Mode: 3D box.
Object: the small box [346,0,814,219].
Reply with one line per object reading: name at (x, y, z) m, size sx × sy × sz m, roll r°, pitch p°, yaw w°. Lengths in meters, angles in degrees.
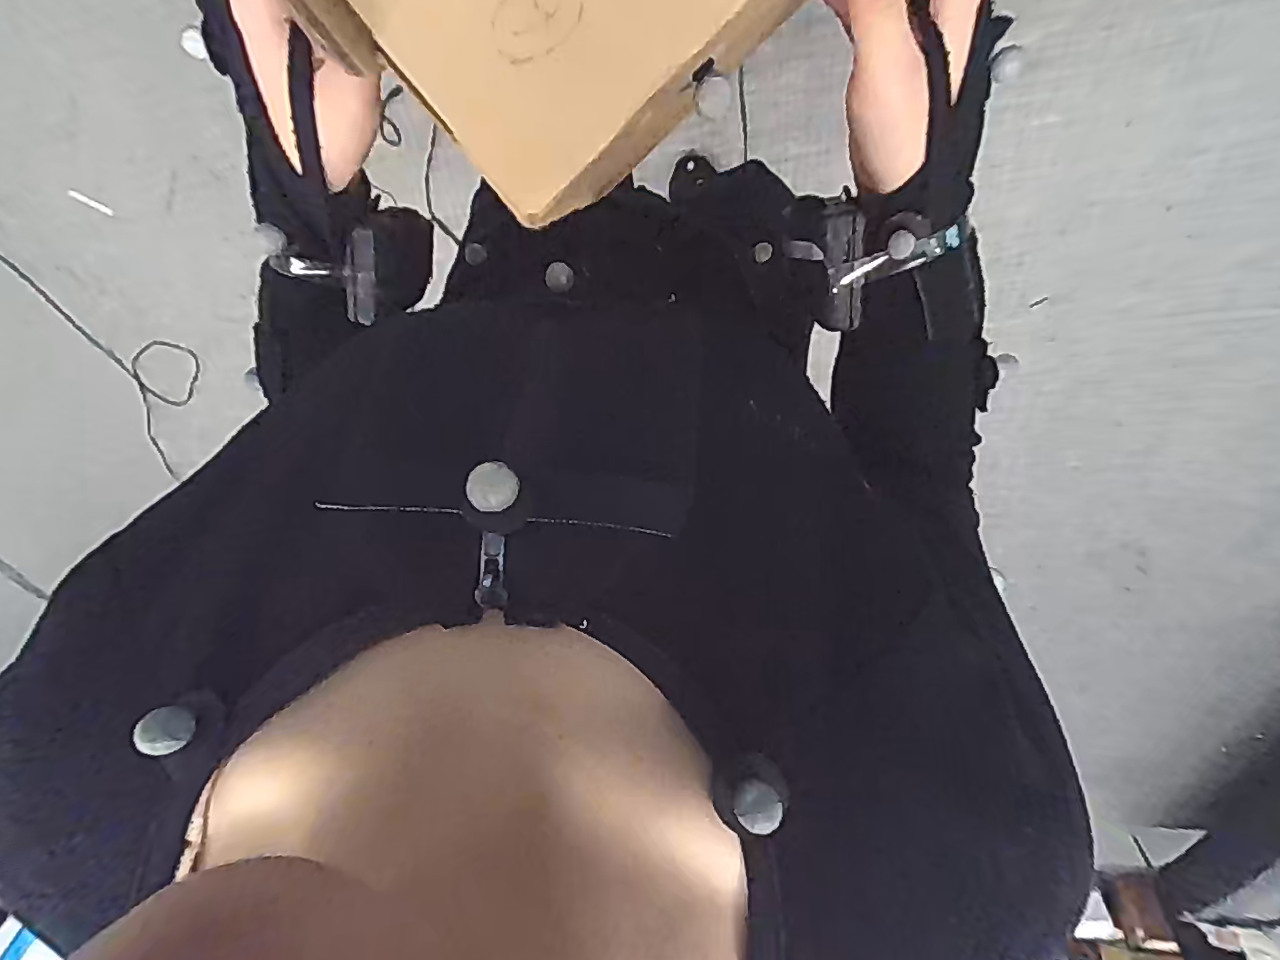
small box at (-0.014, -0.226, 0.194) m, size 0.179 × 0.176 × 0.168 m, roll -35°, pitch 112°, yaw 22°
